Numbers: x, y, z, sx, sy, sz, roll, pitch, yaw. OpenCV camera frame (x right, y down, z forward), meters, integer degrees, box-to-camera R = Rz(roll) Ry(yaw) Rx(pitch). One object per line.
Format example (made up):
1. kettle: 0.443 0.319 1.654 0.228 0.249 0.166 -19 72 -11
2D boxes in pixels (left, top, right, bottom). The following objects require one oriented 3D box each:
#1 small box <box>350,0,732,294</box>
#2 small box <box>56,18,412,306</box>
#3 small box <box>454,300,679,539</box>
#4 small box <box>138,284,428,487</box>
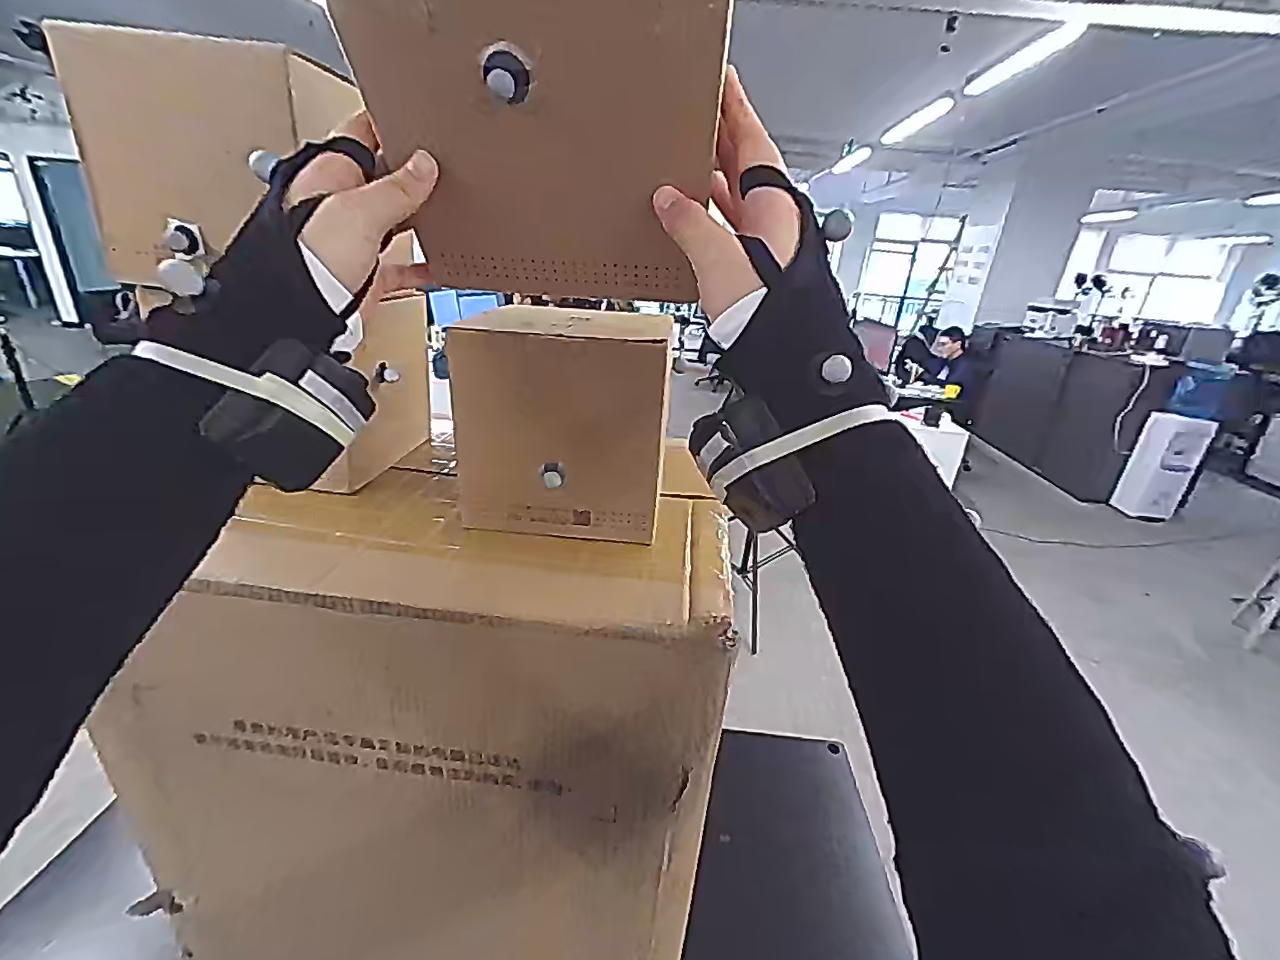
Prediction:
1. small box: -0.039 -0.233 0.325 0.179 0.176 0.168 5 58 3
2. small box: -0.310 -0.250 0.462 0.168 0.176 0.179 5 23 1
3. small box: -0.055 -0.065 0.496 0.168 0.176 0.179 4 23 3
4. small box: -0.323 -0.105 0.538 0.168 0.176 0.179 7 23 1
